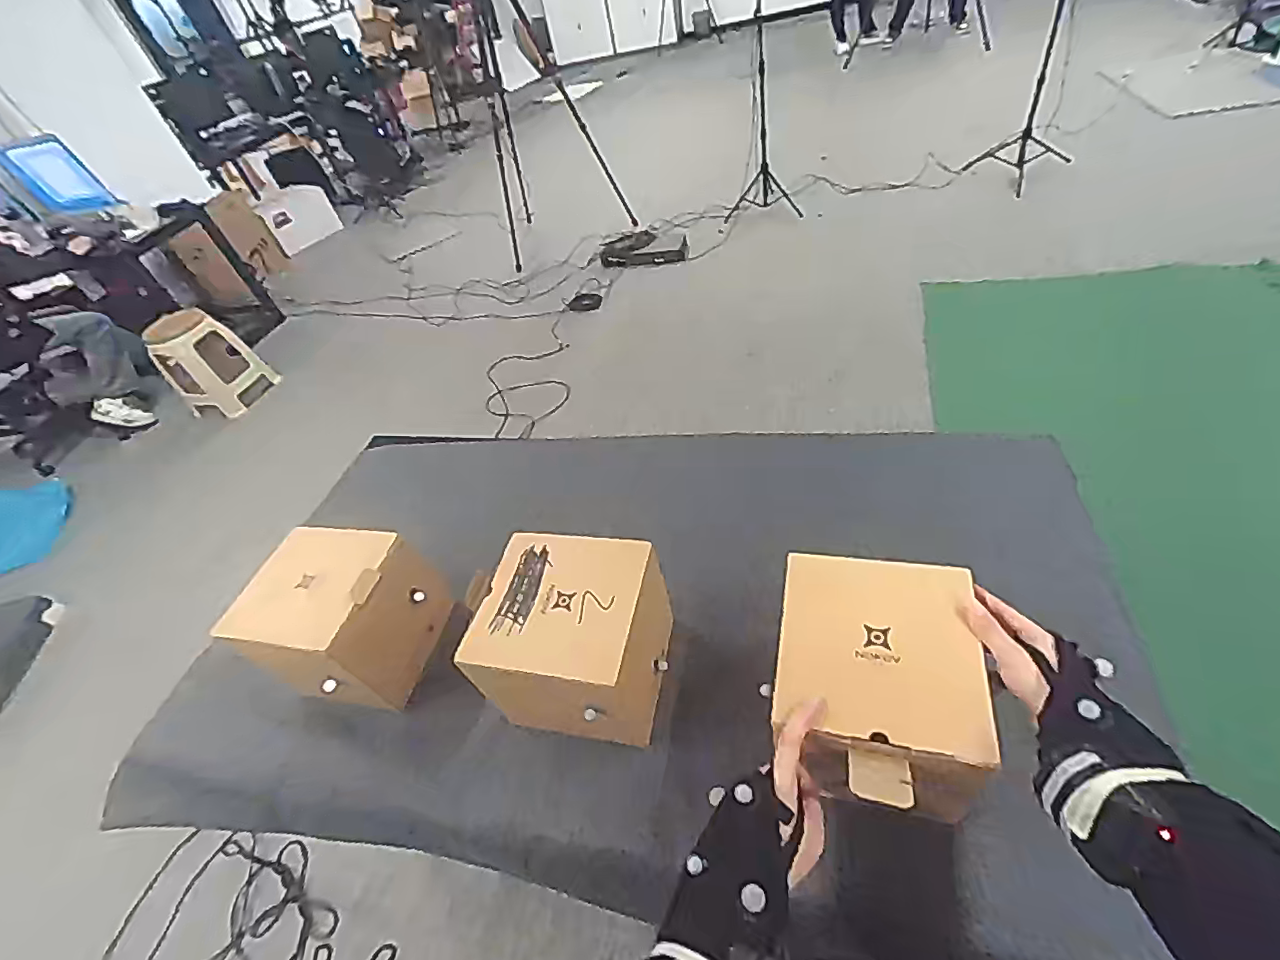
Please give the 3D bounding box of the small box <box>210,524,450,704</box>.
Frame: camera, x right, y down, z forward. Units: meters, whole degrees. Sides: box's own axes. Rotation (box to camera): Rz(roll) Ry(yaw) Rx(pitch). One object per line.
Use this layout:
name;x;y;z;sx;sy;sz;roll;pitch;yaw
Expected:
small box;-0.384;0.176;0.709;0.179;0.176;0.168;0;46;17
